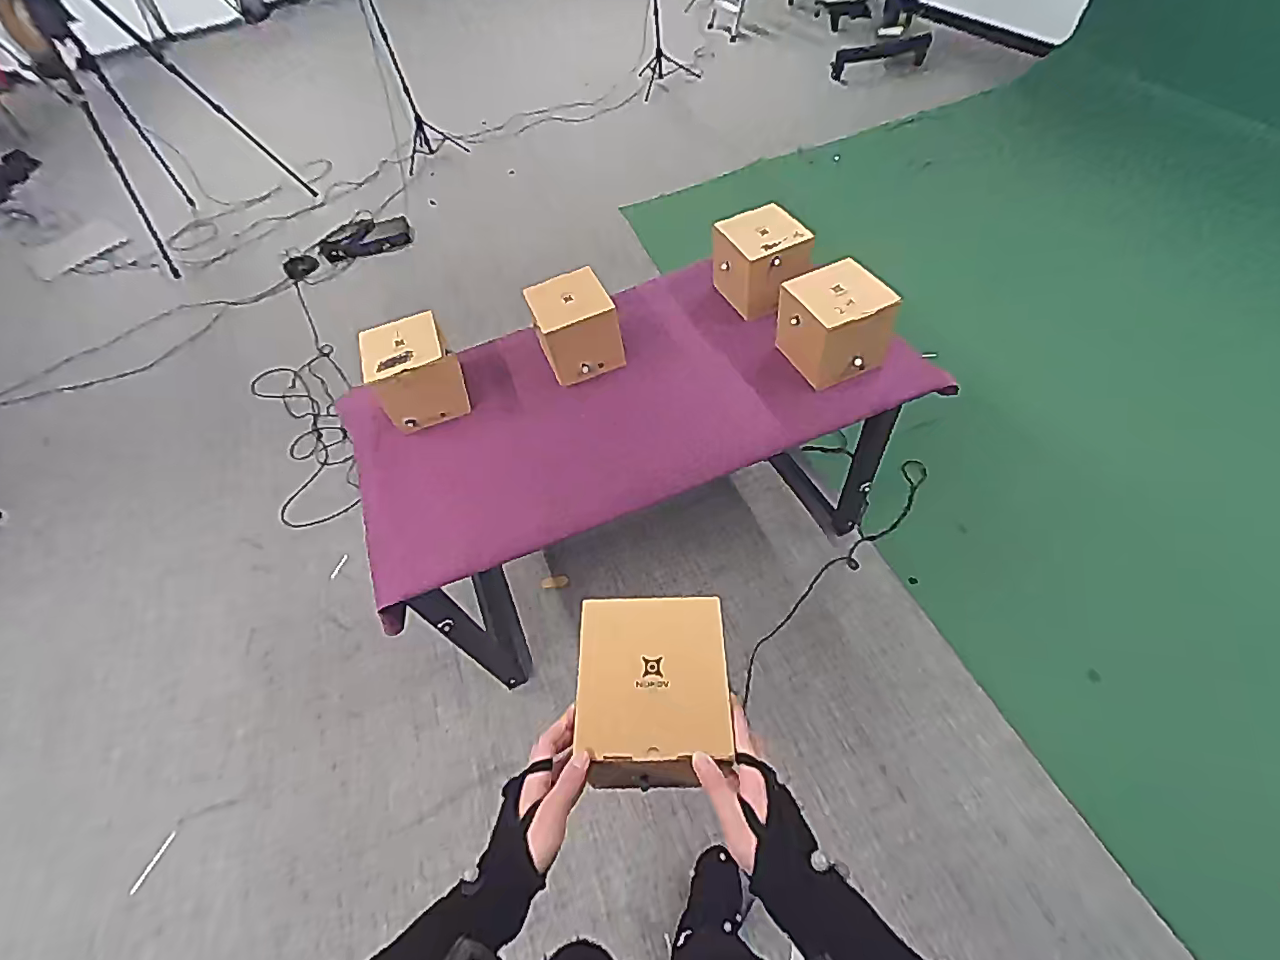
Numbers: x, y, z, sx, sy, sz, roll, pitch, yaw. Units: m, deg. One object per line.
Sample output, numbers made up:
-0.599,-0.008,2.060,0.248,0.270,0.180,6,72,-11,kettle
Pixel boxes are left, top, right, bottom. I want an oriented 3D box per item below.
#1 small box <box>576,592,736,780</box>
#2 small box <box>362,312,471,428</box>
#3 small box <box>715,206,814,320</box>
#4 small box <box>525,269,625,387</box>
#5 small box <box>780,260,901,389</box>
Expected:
0.017,0.252,0.658,0.168,0.176,0.179,-1,53,1,small box
-0.496,-0.238,1.214,0.168,0.176,0.179,-20,55,-7,small box
0.290,-0.518,1.299,0.168,0.176,0.179,-24,55,-7,small box
-0.147,-0.348,1.245,0.168,0.176,0.179,-22,55,-7,small box
0.408,-0.325,1.139,0.168,0.176,0.179,-22,54,-5,small box
